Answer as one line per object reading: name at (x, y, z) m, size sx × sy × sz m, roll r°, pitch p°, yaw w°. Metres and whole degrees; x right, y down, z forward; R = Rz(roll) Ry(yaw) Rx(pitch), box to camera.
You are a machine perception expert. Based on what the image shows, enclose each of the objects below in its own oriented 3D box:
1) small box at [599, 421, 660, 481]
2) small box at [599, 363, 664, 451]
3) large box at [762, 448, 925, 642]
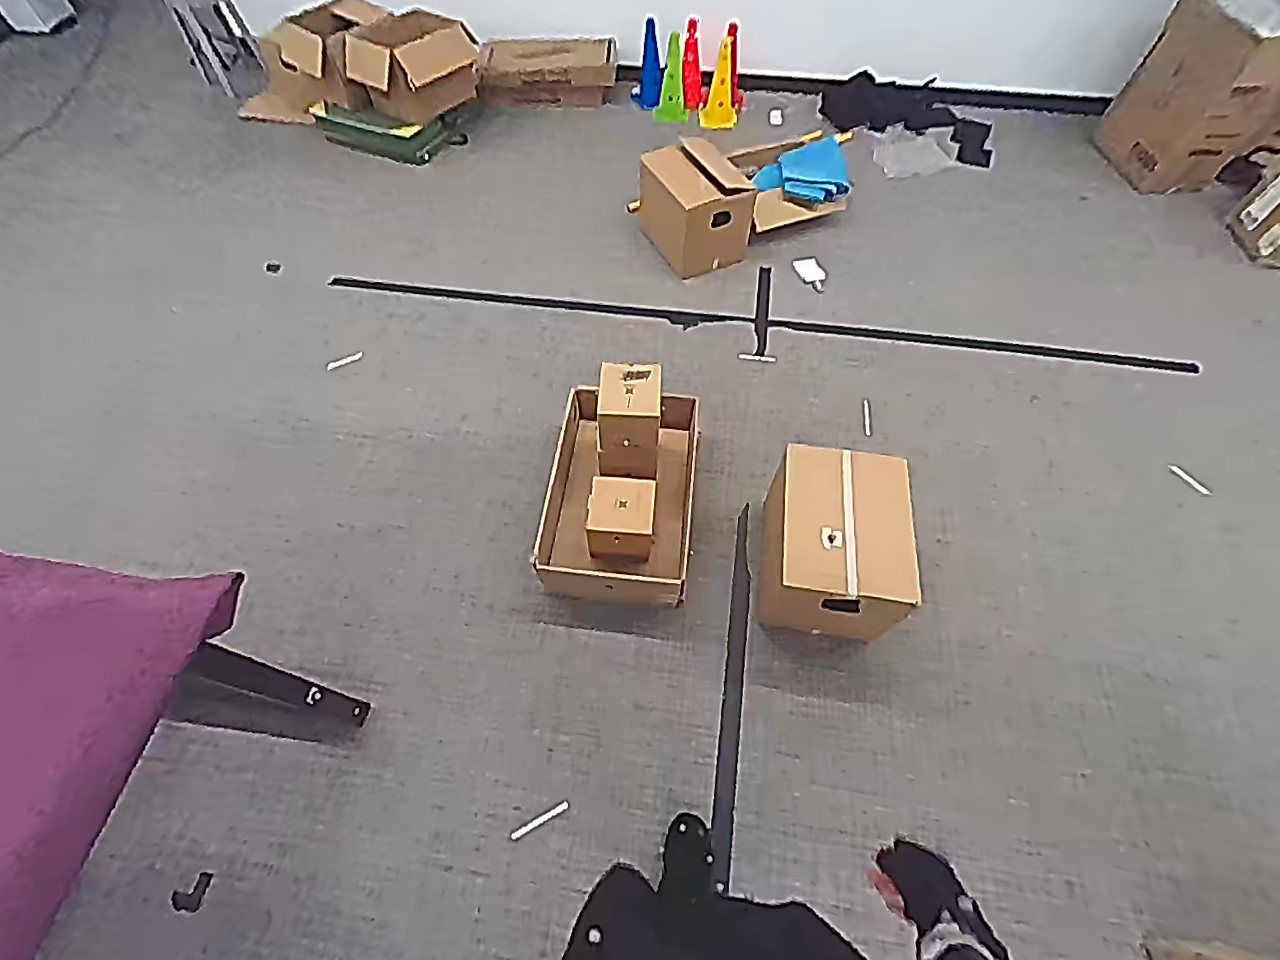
small box at (-0.033, -0.107, 1.632) m, size 0.179 × 0.176 × 0.168 m, roll -1°, pitch 59°, yaw -1°
small box at (-0.022, -0.200, 1.495) m, size 0.168 × 0.176 × 0.179 m, roll 2°, pitch 60°, yaw 1°
large box at (0.511, 0.176, 1.438) m, size 0.320 × 0.320 × 0.408 m, roll 7°, pitch 60°, yaw 5°
